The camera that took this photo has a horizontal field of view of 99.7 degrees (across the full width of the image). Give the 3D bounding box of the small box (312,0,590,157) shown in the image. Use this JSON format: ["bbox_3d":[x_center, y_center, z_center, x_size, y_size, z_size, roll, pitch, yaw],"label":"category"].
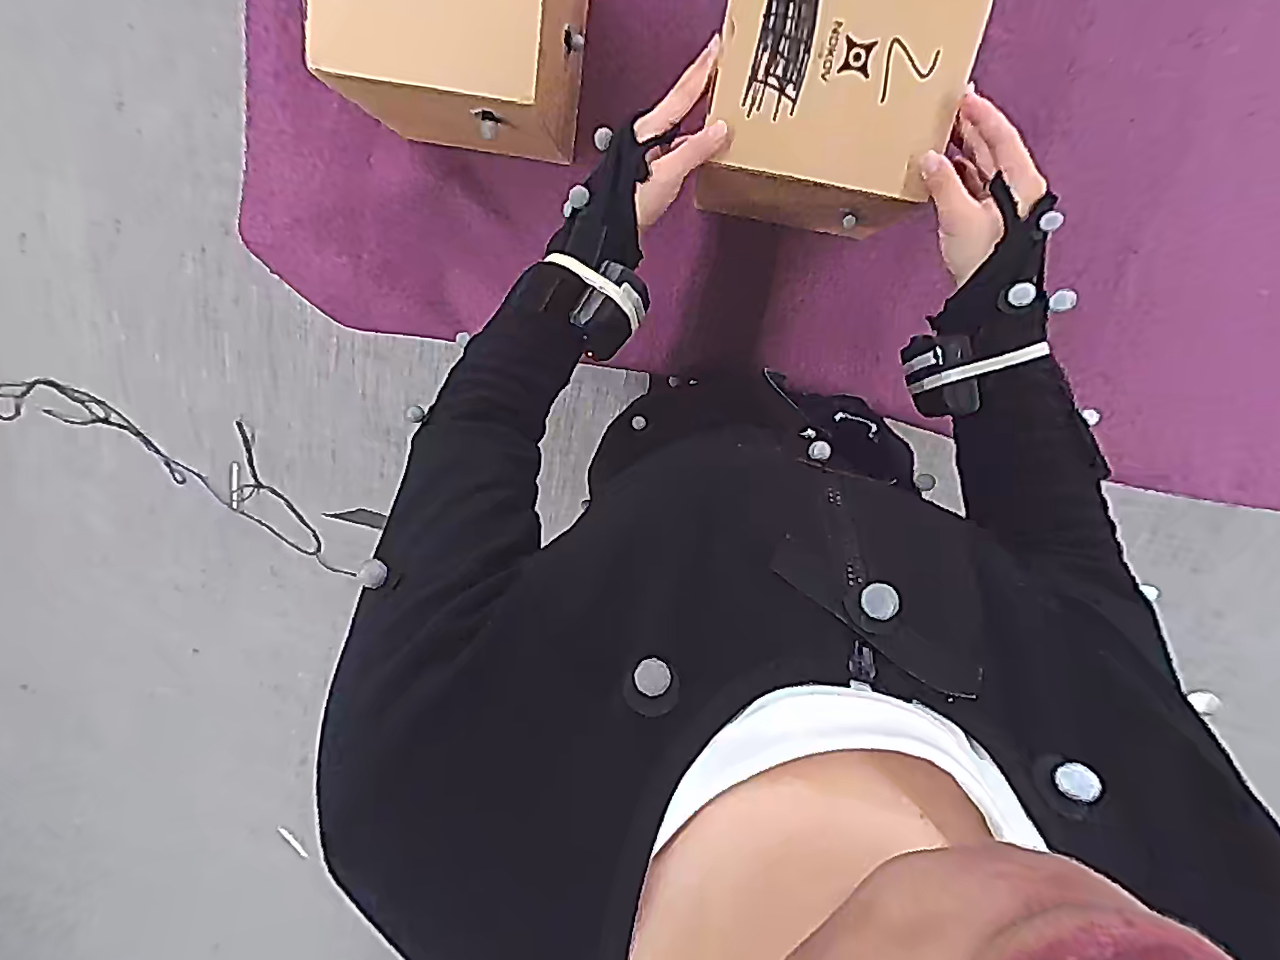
[{"bbox_3d":[-0.143,-0.395,0.458,0.179,0.176,0.168,10,106,0],"label":"small box"}]
